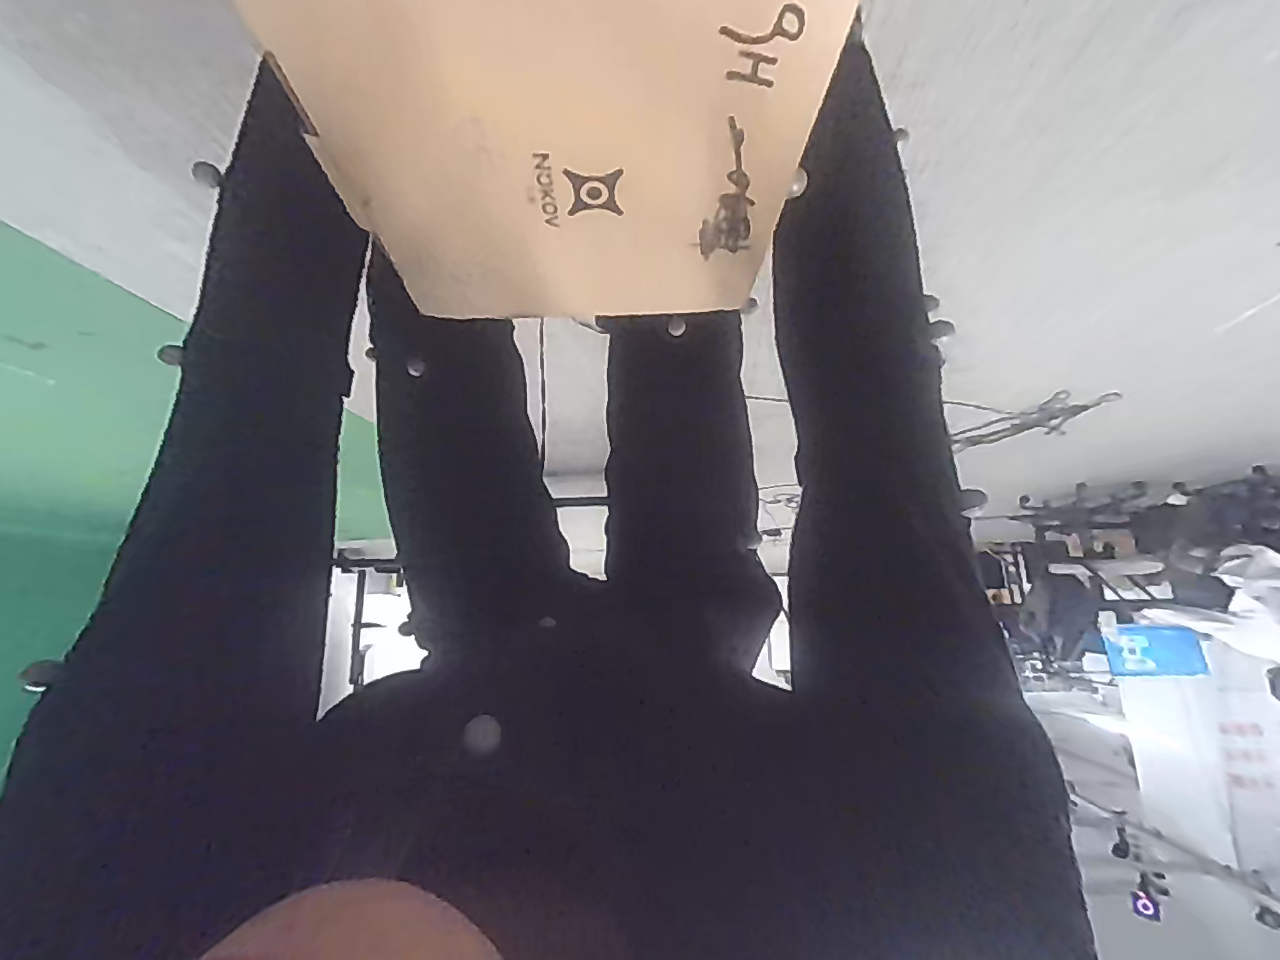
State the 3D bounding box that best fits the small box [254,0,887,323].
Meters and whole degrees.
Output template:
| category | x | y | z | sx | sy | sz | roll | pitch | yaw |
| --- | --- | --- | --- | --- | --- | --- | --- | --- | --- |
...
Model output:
| category | x | y | z | sx | sy | sz | roll | pitch | yaw |
| --- | --- | --- | --- | --- | --- | --- | --- | --- | --- |
| small box | -0.024 | -0.188 | 0.231 | 0.179 | 0.176 | 0.168 | -1 | 163 | -3 |
